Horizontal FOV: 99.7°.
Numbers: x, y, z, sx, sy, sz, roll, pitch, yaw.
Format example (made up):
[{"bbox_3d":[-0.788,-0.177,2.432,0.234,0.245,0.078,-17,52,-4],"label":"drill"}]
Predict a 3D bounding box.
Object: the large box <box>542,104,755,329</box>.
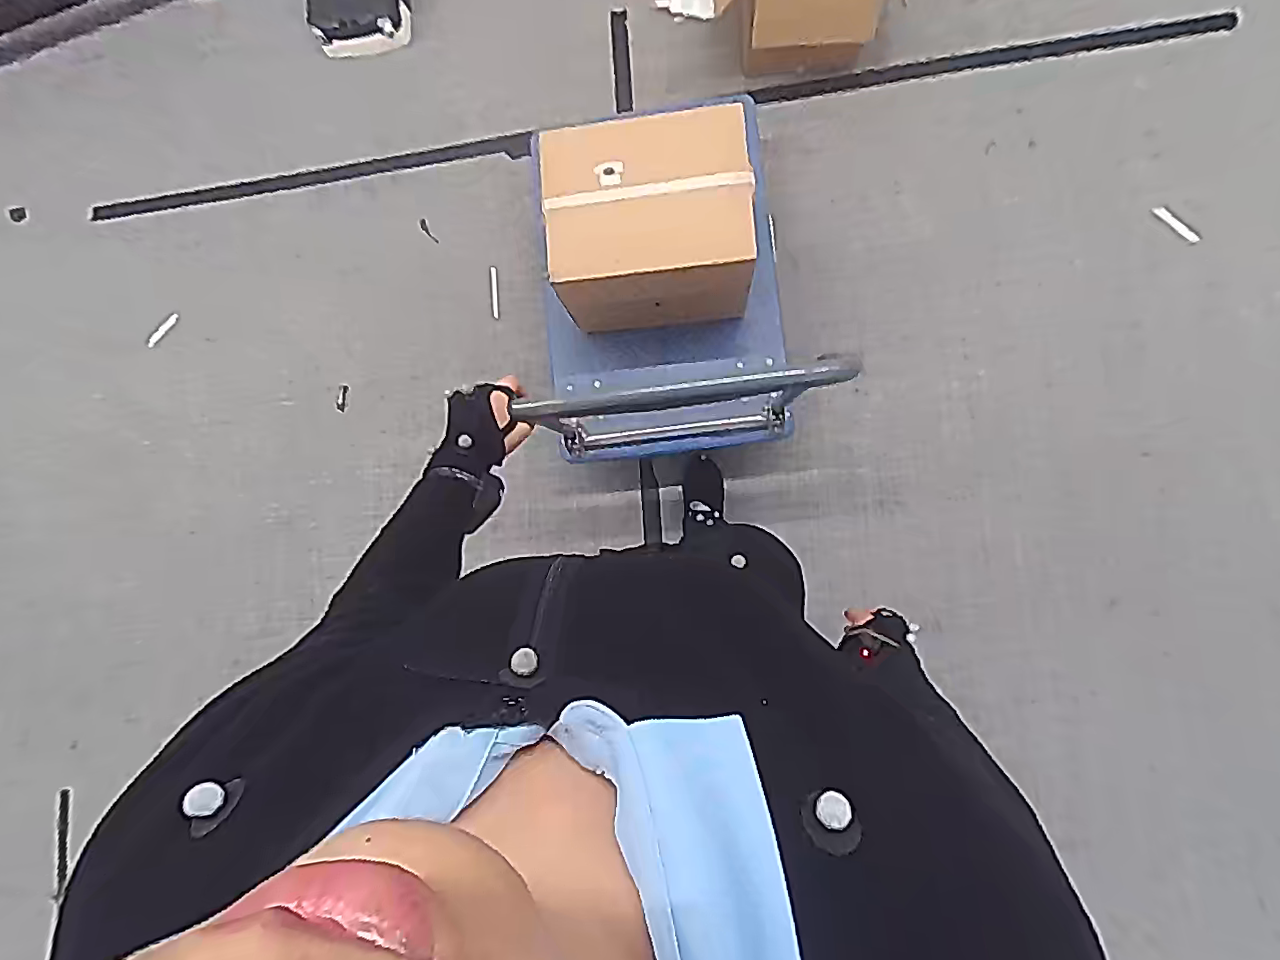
[{"bbox_3d":[0.029,-0.553,1.207,0.408,0.320,0.320,-5,85,6],"label":"large box"}]
